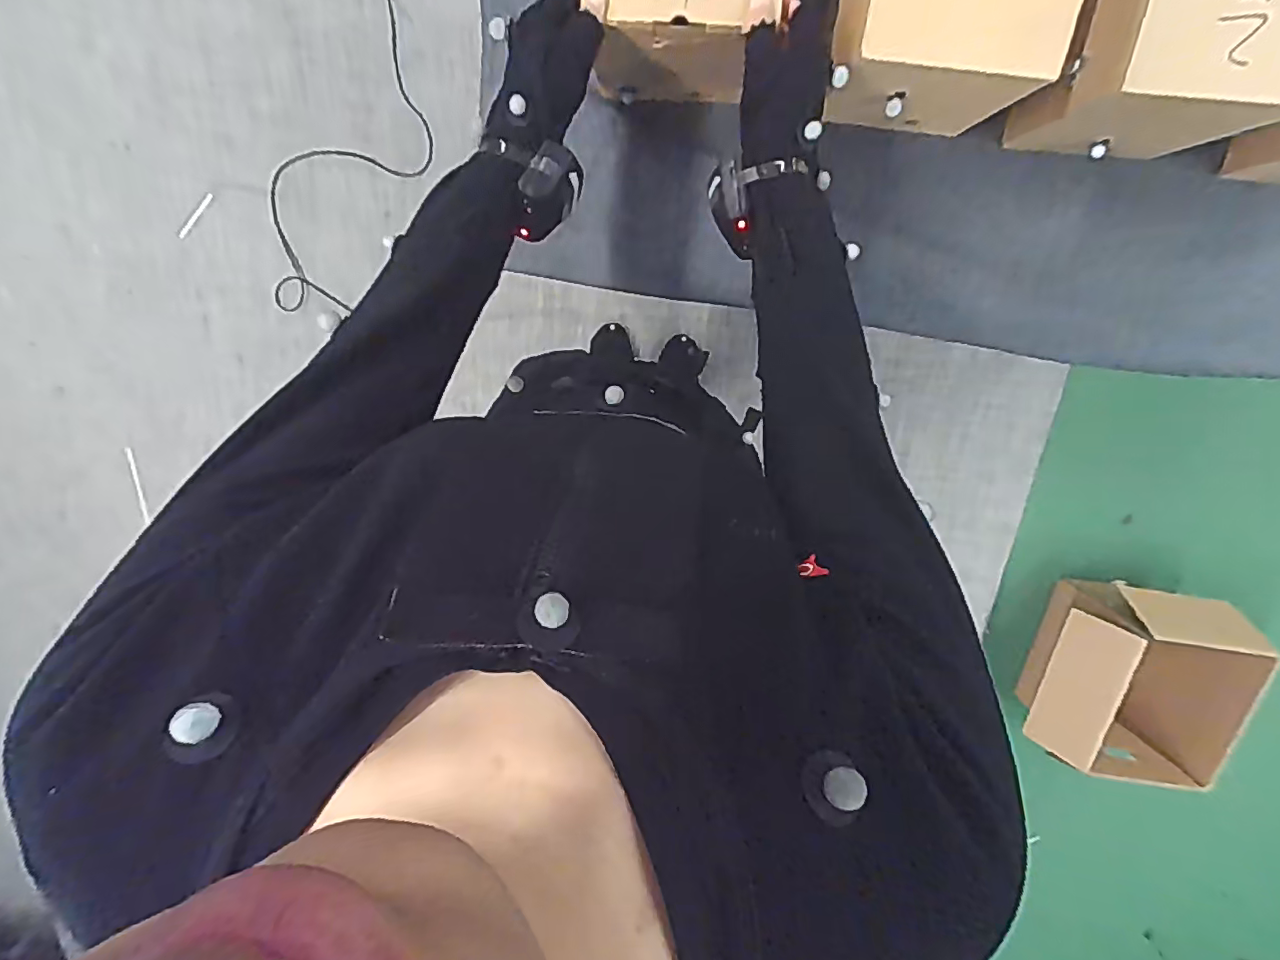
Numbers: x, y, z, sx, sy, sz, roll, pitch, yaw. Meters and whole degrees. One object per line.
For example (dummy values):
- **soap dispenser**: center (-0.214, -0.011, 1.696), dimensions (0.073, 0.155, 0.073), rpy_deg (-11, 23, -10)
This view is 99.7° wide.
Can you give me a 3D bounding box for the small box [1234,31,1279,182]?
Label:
- **small box**: center (0.723, -0.383, 0.490), dimensions (0.168, 0.176, 0.179), rpy_deg (6, 108, 1)
